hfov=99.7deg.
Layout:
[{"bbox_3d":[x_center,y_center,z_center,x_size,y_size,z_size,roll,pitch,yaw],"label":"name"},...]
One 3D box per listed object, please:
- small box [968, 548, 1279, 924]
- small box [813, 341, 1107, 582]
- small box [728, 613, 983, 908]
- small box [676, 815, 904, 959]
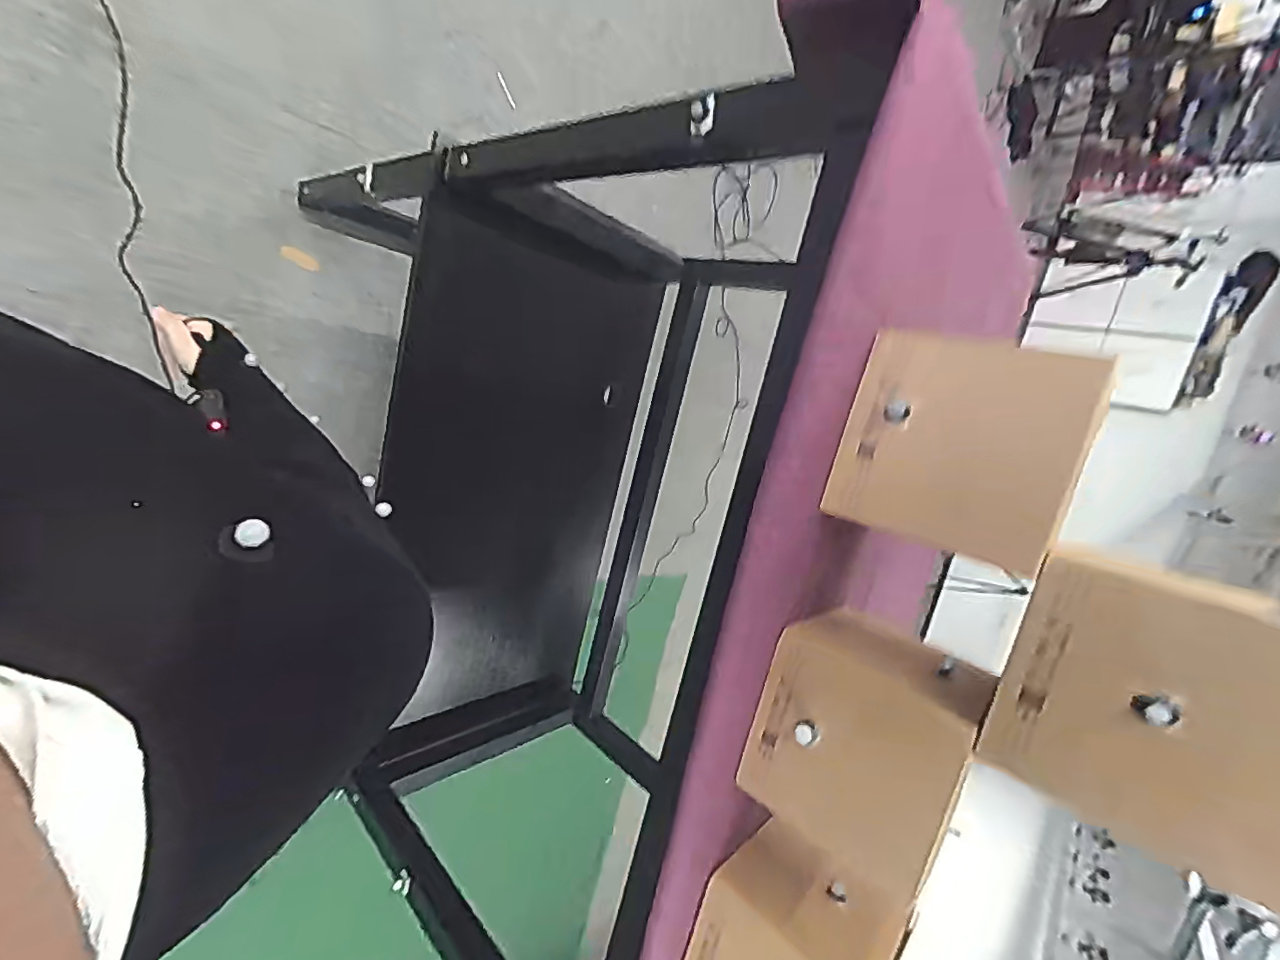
[{"bbox_3d":[0.371,0.158,0.409,0.179,0.176,0.168,5,103,-51],"label":"small box"},{"bbox_3d":[0.285,-0.019,0.492,0.179,0.176,0.168,8,100,-50],"label":"small box"},{"bbox_3d":[0.215,0.245,0.533,0.179,0.176,0.168,6,102,-50],"label":"small box"},{"bbox_3d":[0.154,0.508,0.580,0.179,0.176,0.168,6,101,-52],"label":"small box"}]
